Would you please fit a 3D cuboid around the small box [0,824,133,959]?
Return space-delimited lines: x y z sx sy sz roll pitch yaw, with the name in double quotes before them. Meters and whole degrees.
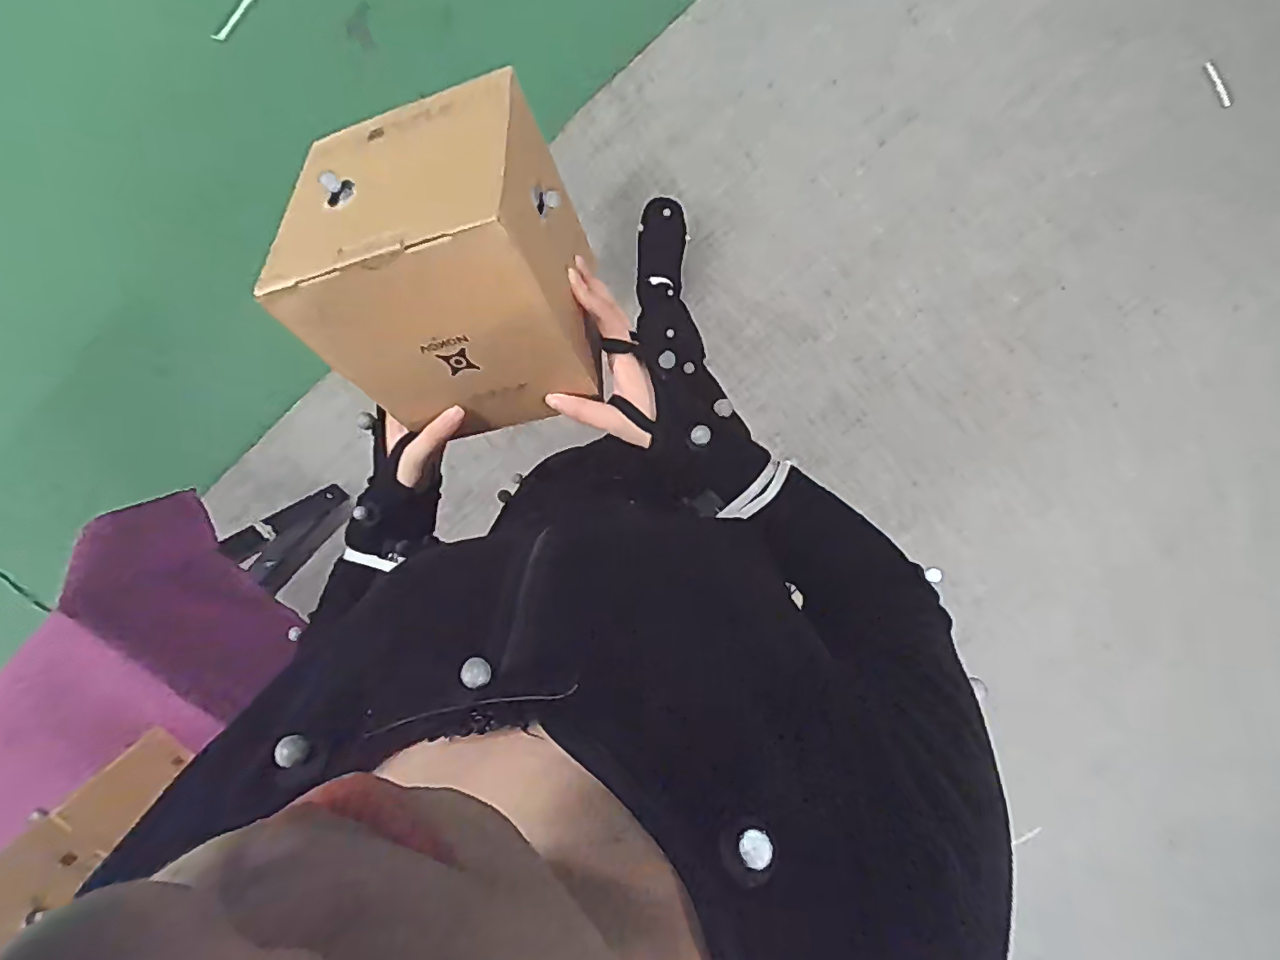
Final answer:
"small box" -0.776 0.562 0.644 0.179 0.176 0.168 -38 101 10

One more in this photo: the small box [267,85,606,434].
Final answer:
"small box" -0.133 -0.166 0.421 0.168 0.176 0.179 -11 149 11

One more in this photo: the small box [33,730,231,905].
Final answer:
"small box" -0.773 0.520 0.804 0.179 0.176 0.168 -37 102 10
